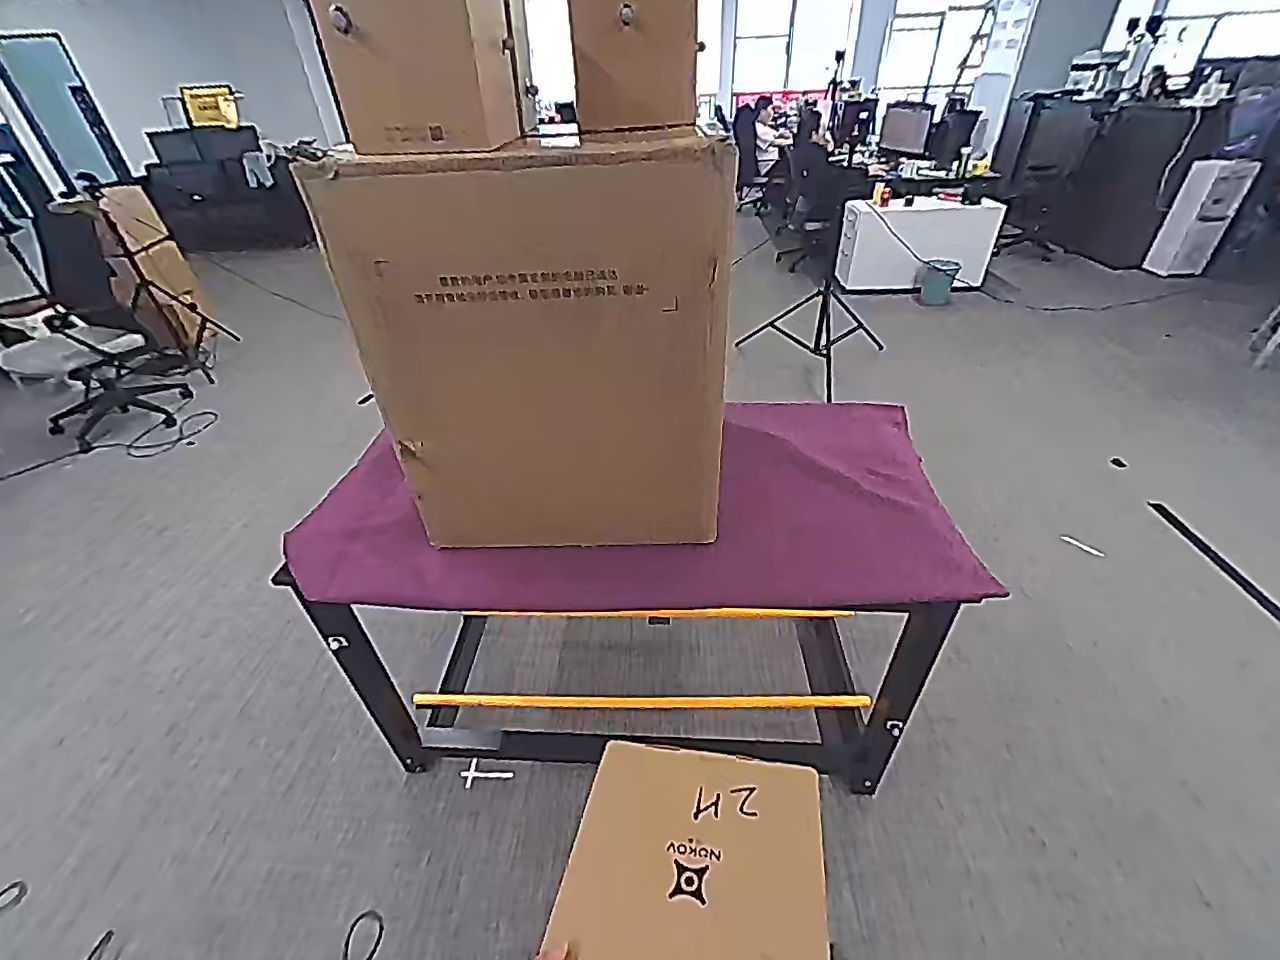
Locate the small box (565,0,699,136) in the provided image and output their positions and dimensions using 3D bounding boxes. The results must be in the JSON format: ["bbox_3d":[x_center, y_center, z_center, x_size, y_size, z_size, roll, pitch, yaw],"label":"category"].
[{"bbox_3d":[-0.006,-0.622,0.801,0.179,0.176,0.168,-3,36,3],"label":"small box"}]
